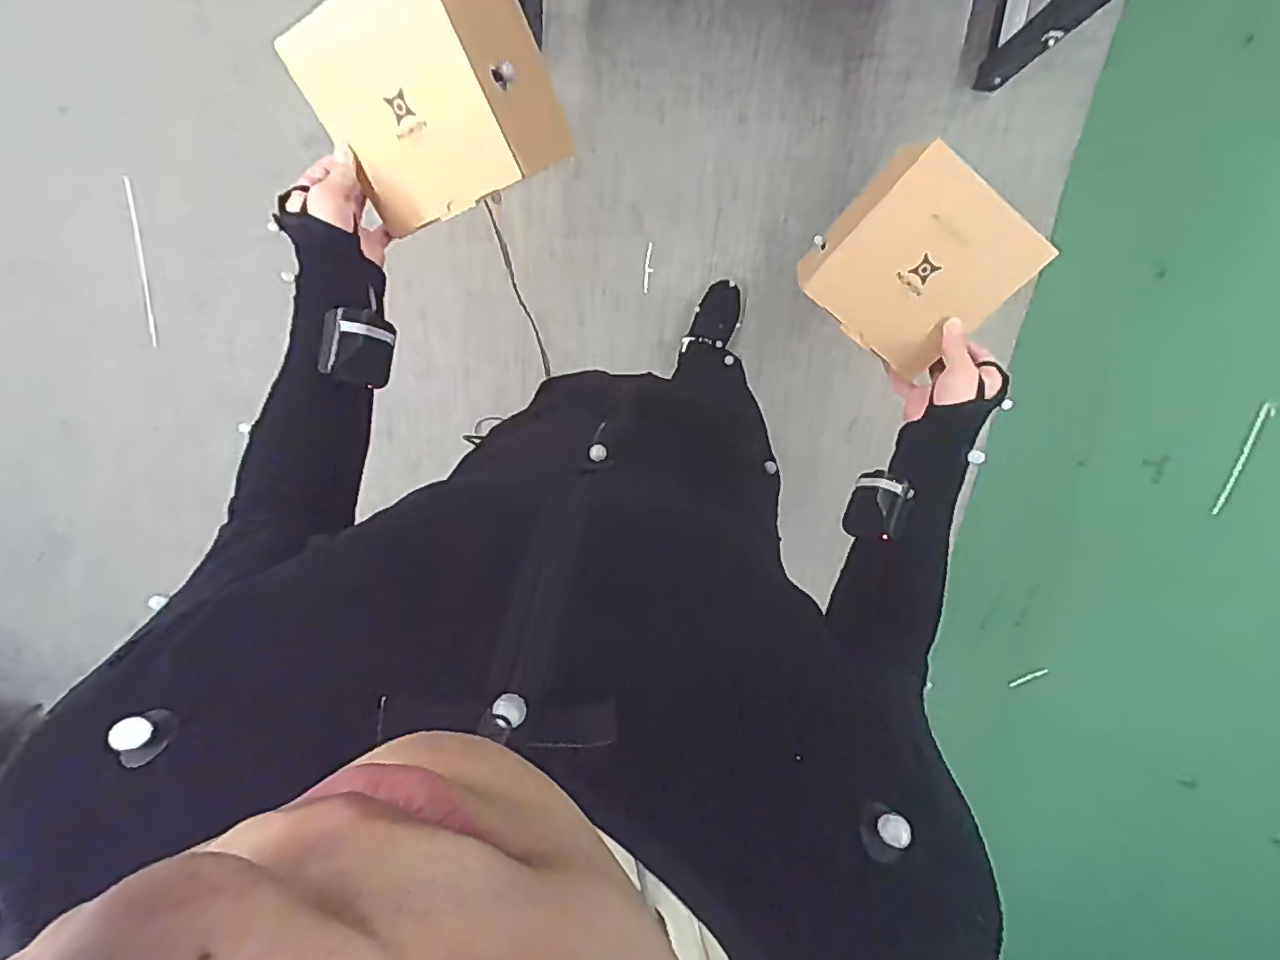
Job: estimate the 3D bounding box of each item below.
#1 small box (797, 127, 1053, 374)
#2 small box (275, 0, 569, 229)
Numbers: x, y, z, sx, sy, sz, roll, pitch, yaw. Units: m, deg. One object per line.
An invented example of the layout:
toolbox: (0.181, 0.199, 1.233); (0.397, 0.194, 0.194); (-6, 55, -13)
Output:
small box: (0.301, -0.257, 0.611); (0.168, 0.176, 0.179); (37, 122, -8)
small box: (-0.196, -0.386, 0.541); (0.168, 0.176, 0.179); (-12, 125, 23)
